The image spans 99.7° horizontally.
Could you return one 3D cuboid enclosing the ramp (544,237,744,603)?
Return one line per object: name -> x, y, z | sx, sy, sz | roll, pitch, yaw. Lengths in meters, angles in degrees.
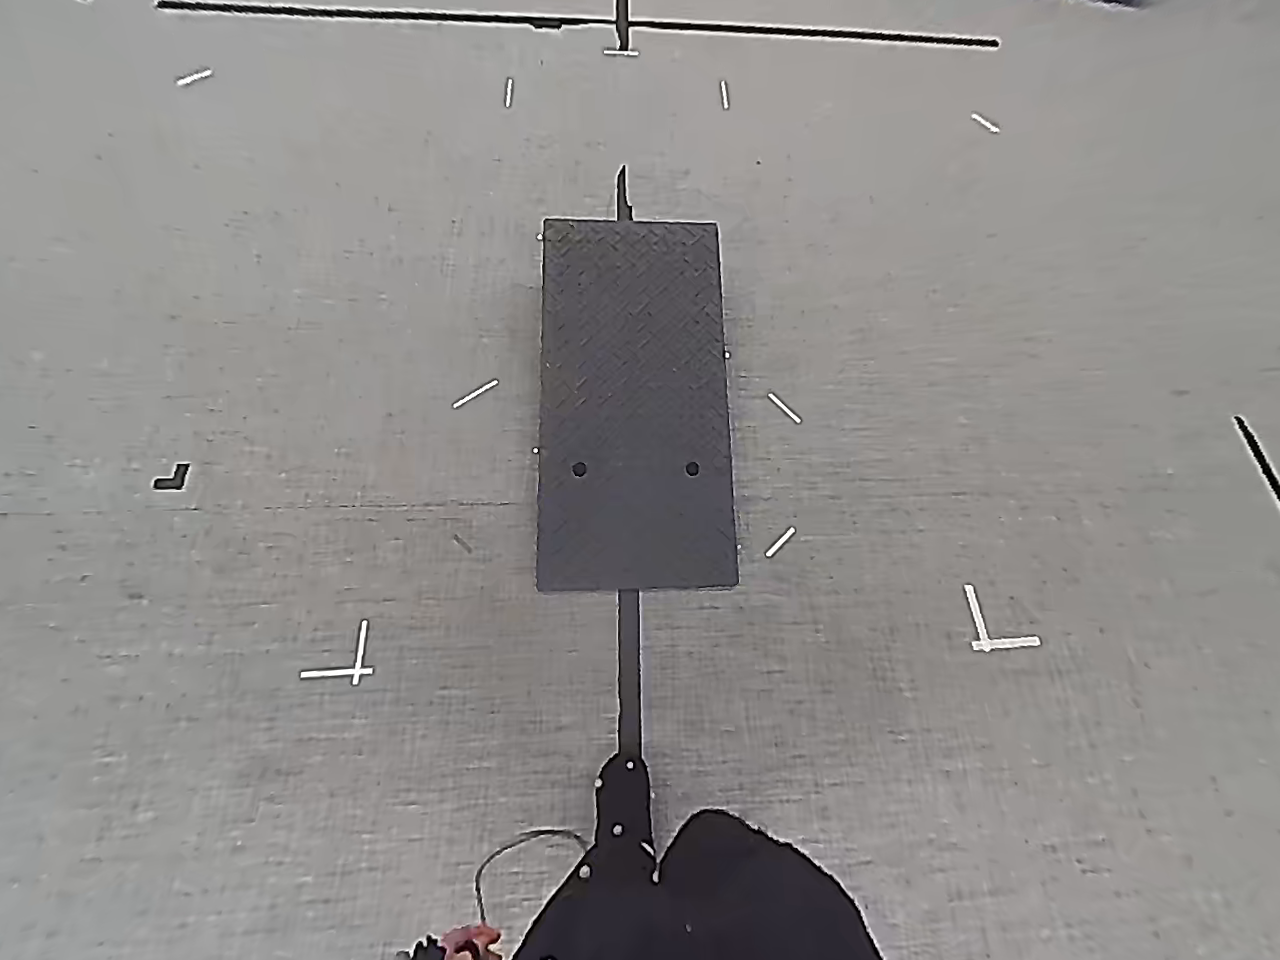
ramp -> -0.003, -0.196, 1.417 | 0.509, 0.206, 0.991 | -2, 67, -6
